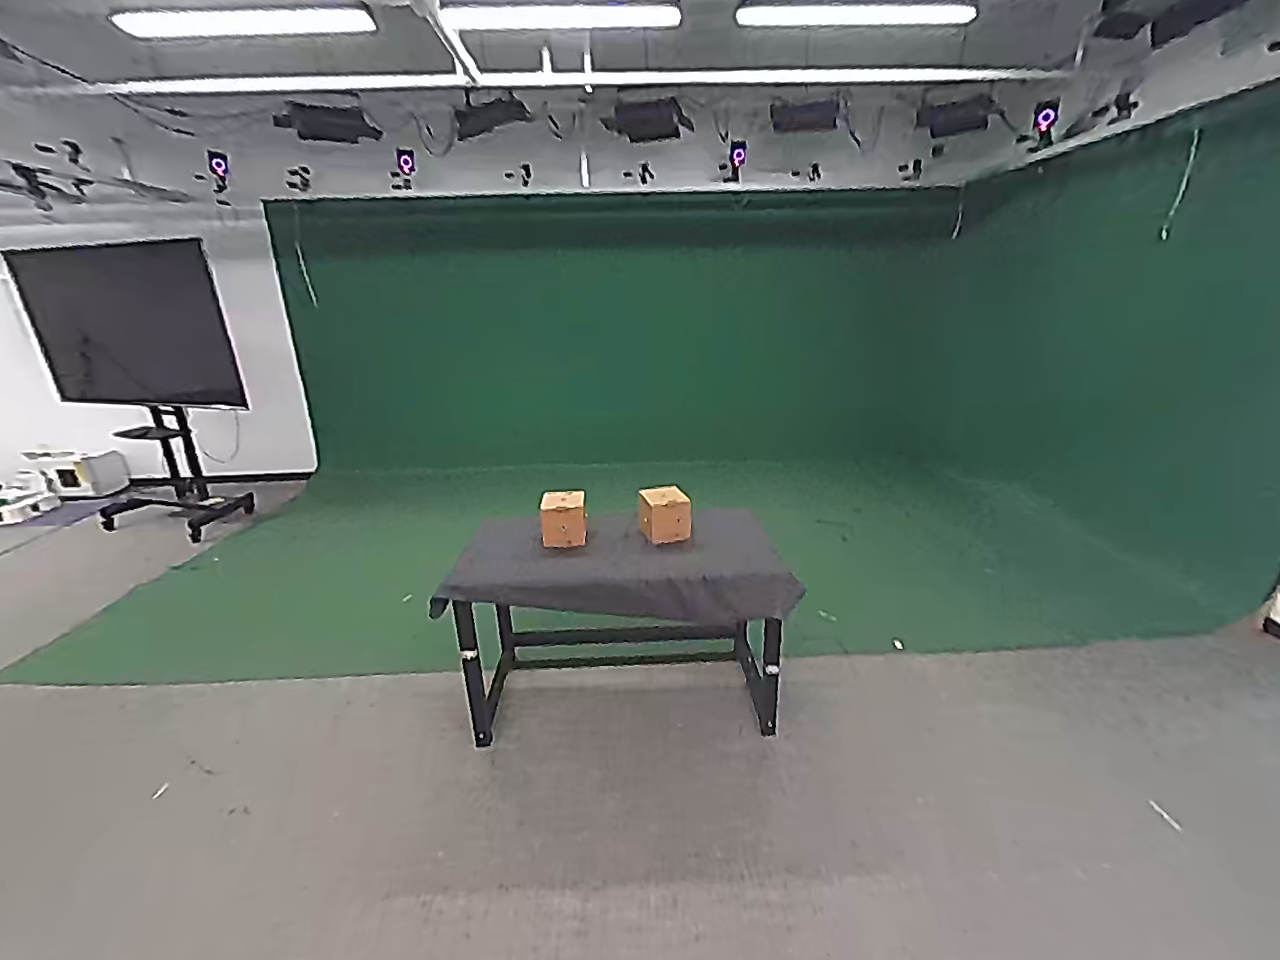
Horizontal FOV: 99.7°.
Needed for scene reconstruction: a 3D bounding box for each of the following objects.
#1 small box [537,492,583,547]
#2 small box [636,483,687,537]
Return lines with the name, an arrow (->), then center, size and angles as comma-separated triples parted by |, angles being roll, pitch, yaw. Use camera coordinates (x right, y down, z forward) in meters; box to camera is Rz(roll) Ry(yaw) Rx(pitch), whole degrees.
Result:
small box -> -0.317, 0.162, 2.179 | 0.168, 0.176, 0.179 | -5, 19, -6
small box -> 0.085, 0.125, 2.193 | 0.168, 0.176, 0.179 | -4, 19, -15
